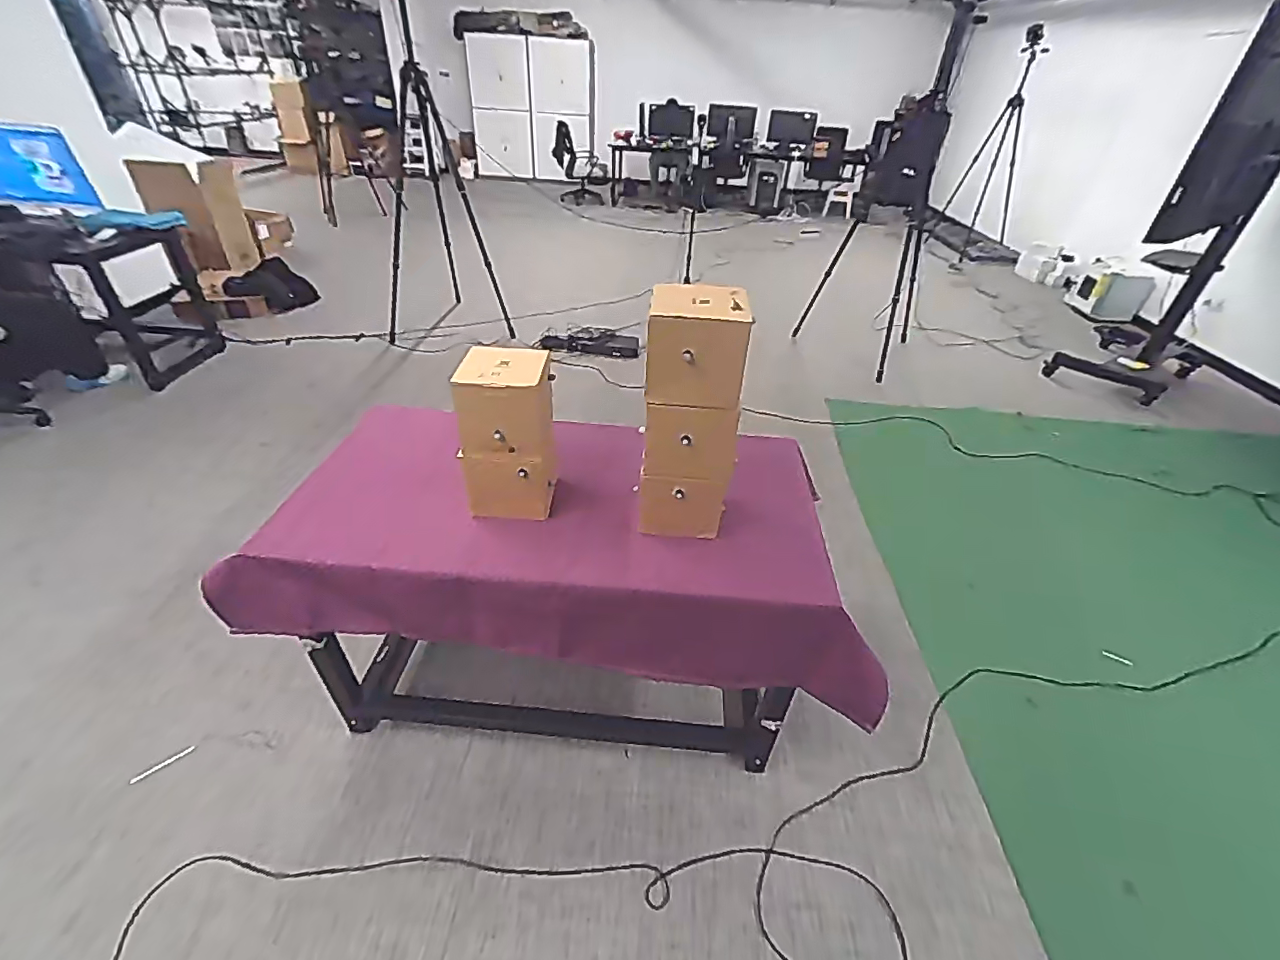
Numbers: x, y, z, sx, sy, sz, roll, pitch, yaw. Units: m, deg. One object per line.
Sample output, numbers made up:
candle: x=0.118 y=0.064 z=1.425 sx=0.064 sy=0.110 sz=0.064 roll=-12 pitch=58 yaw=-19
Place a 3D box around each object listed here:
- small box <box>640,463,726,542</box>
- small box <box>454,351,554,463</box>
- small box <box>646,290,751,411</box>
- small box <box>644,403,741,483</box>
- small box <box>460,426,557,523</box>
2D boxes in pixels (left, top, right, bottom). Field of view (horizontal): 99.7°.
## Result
small box: x=0.093 y=0.021 z=1.201 sx=0.179 sy=0.176 sz=0.168 roll=5 pitch=37 yaw=2
small box: x=-0.275 y=-0.155 z=1.137 sx=0.168 sy=0.176 sz=0.179 roll=3 pitch=36 yaw=-1
small box: x=0.104 y=-0.240 z=1.002 sx=0.179 sy=0.176 sz=0.168 roll=4 pitch=38 yaw=3
small box: x=0.104 y=-0.109 z=1.101 sx=0.179 sy=0.176 sz=0.168 roll=4 pitch=37 yaw=3
small box: x=-0.289 y=-0.016 z=1.227 sx=0.179 sy=0.176 sz=0.168 roll=3 pitch=36 yaw=-2
